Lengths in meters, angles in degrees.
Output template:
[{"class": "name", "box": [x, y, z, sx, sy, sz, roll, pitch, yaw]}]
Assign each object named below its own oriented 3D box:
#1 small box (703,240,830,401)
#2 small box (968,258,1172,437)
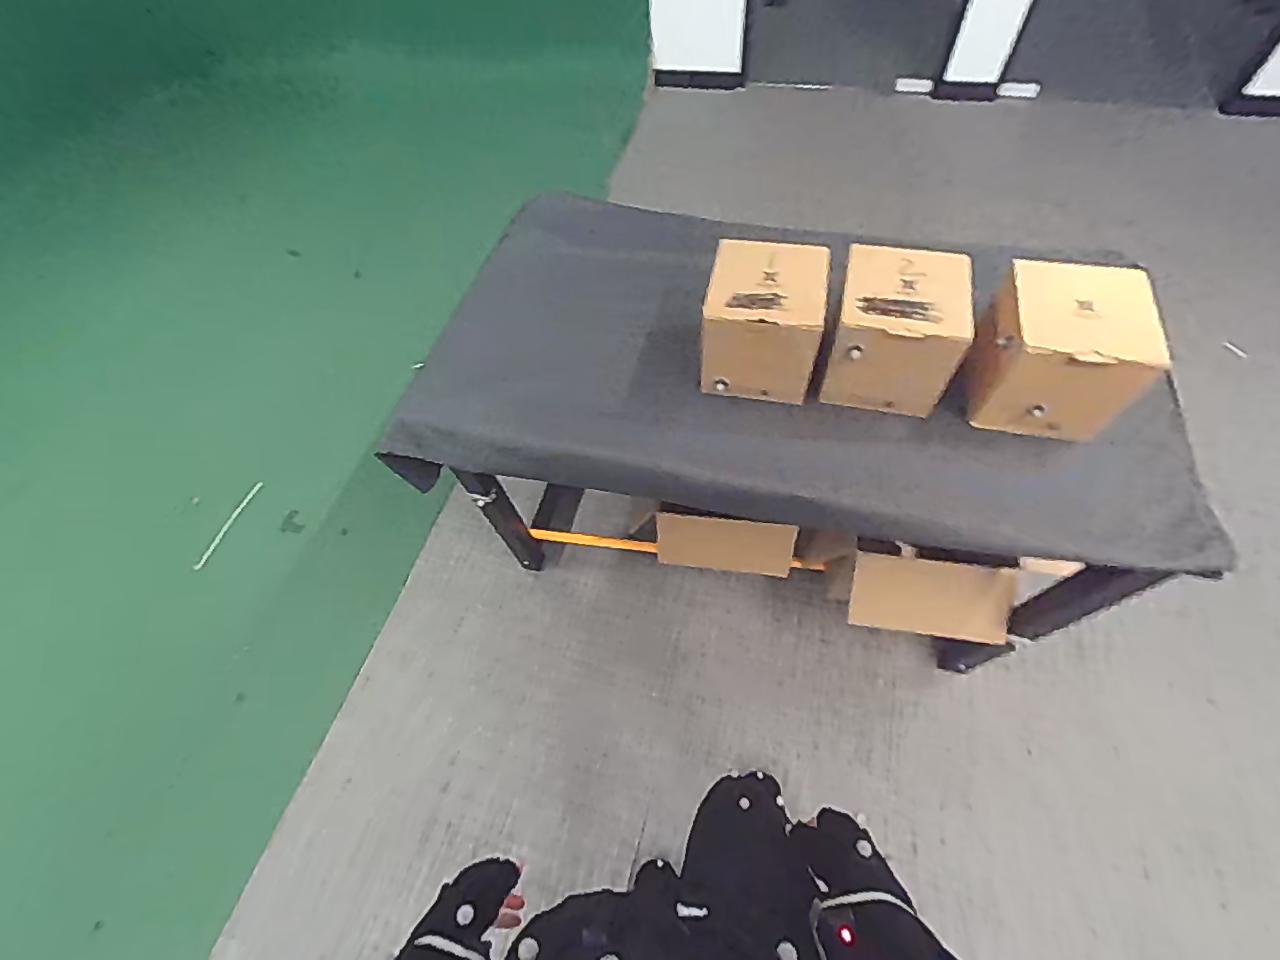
[{"class": "small box", "box": [0.196, -0.248, 0.856, 0.168, 0.176, 0.179, 9, 61, 10]}, {"class": "small box", "box": [0.596, -0.188, 0.781, 0.168, 0.176, 0.179, 10, 61, 11]}]
